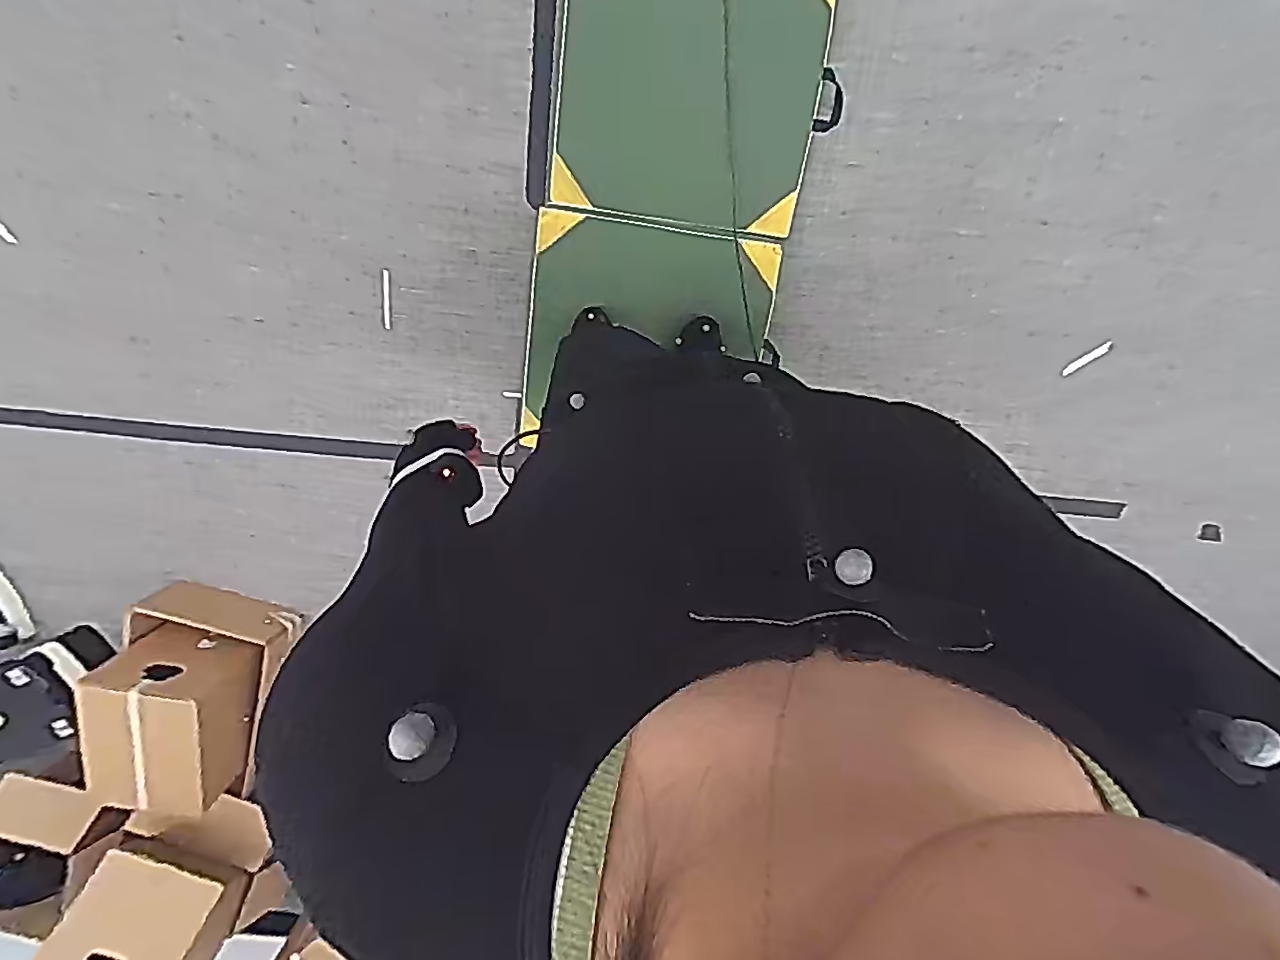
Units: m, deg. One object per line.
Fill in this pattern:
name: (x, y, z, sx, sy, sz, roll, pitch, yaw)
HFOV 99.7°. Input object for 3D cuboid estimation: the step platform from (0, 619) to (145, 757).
step platform: (-2.003, 0.702, 1.727, 0.684, 0.204, 0.286, -22, 106, 6)
